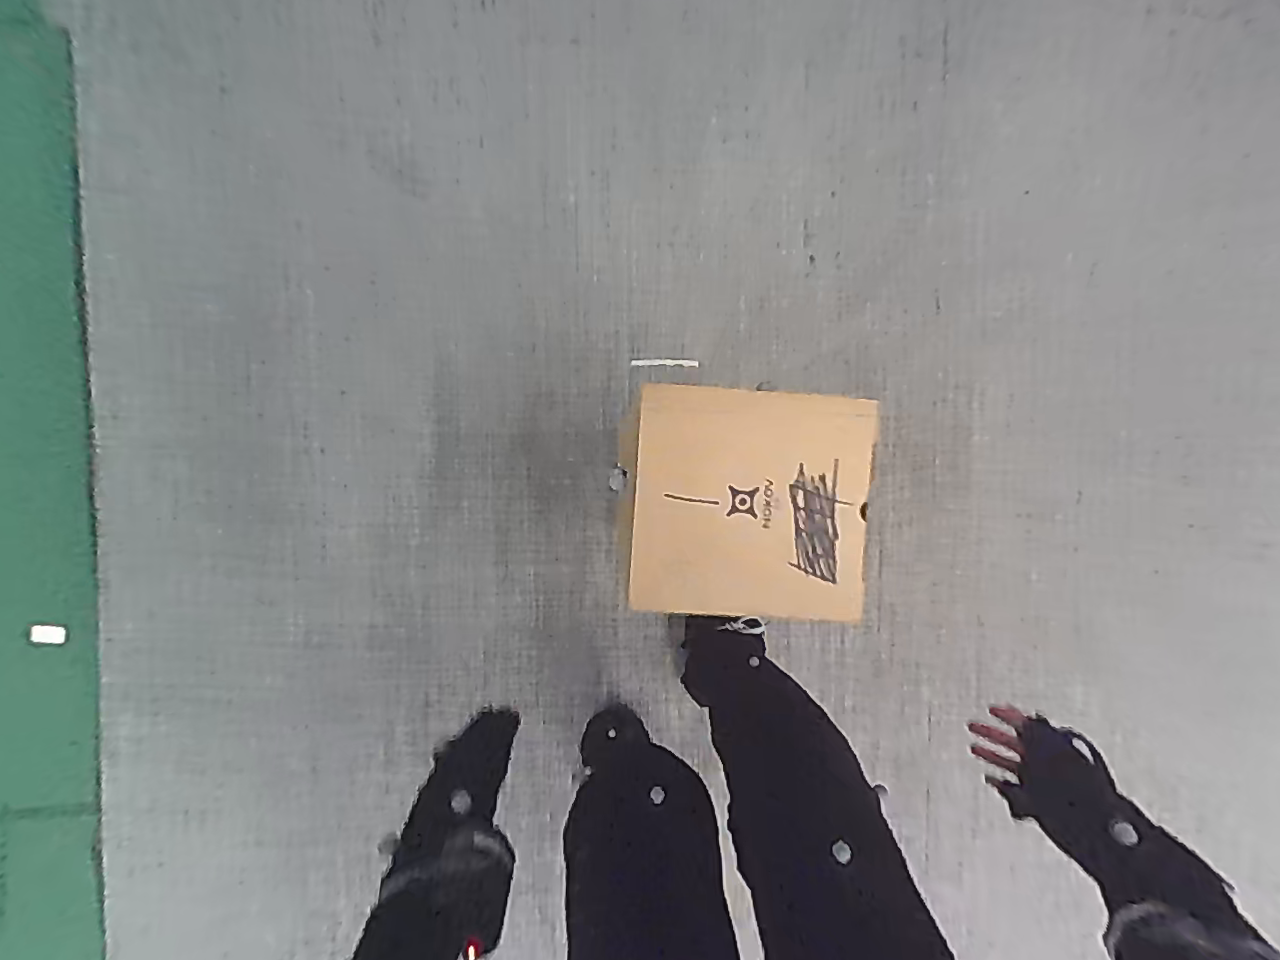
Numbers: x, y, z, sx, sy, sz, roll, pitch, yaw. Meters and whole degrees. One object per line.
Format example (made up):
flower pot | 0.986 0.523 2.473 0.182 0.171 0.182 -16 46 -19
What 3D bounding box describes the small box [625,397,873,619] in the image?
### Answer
small box | 0.081 0.019 0.481 0.179 0.176 0.168 0 92 -5
